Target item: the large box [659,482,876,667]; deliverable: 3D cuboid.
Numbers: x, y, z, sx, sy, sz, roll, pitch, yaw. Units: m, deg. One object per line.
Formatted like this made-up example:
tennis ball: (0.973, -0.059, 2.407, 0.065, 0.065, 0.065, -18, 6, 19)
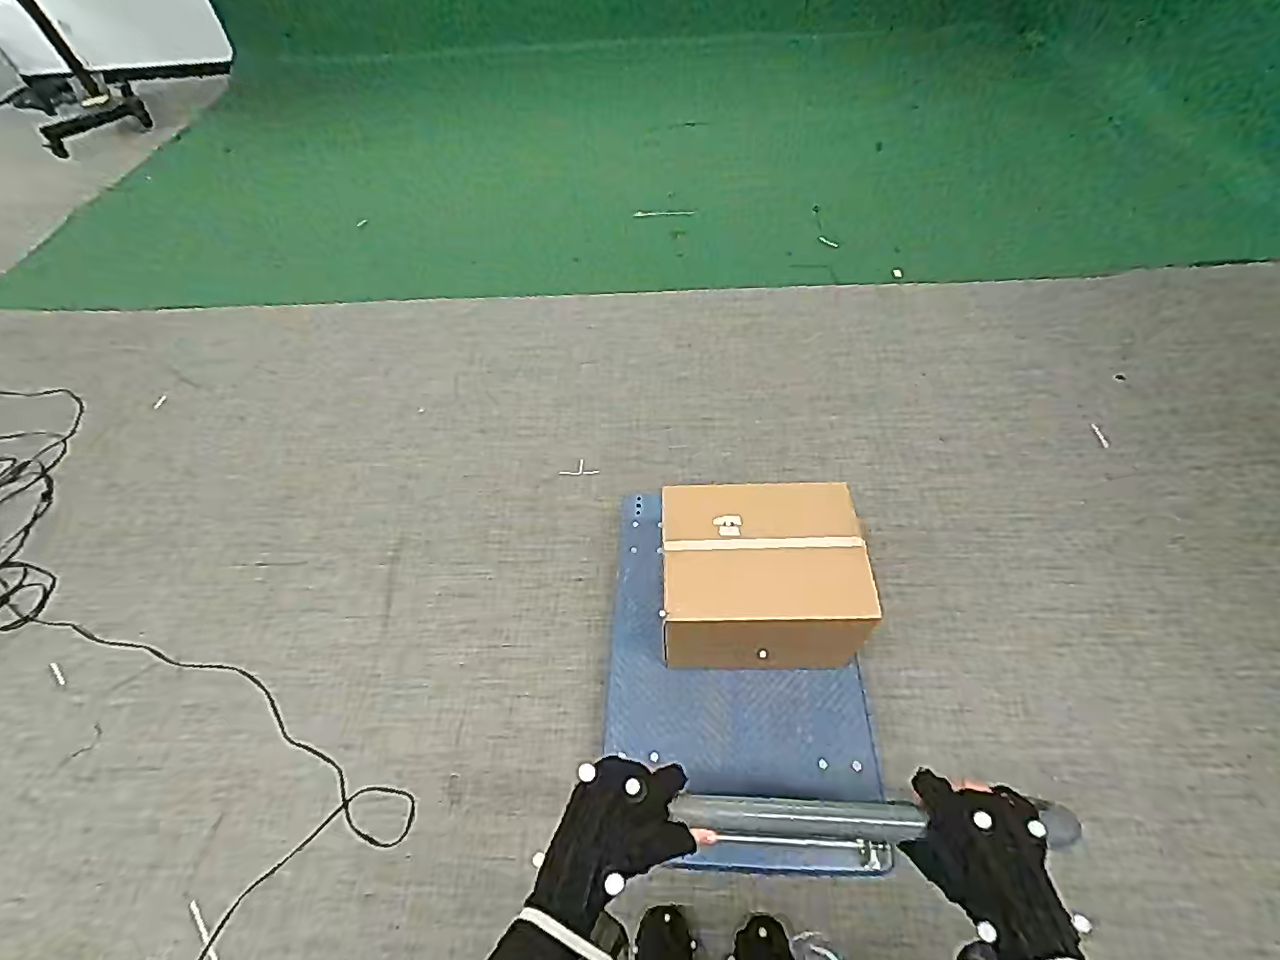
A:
large box: (0.254, 0.223, 1.218, 0.408, 0.320, 0.320, -2, 54, 4)
